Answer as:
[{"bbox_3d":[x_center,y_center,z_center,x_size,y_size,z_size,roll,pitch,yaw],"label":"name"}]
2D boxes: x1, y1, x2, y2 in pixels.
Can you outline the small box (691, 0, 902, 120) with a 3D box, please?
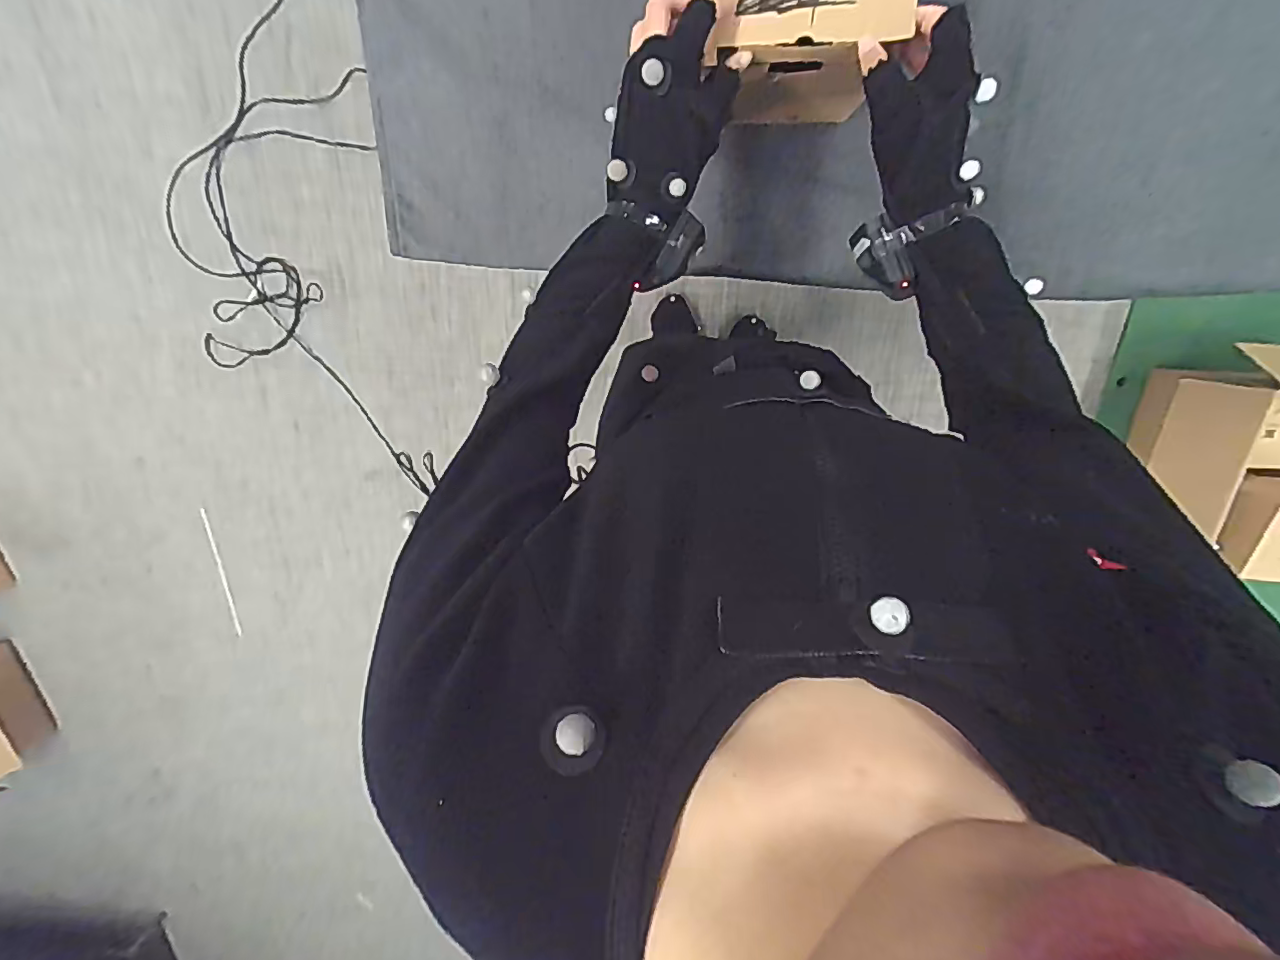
[{"bbox_3d":[0.133,-0.447,0.491,0.168,0.176,0.179,2,108,4],"label":"small box"}]
